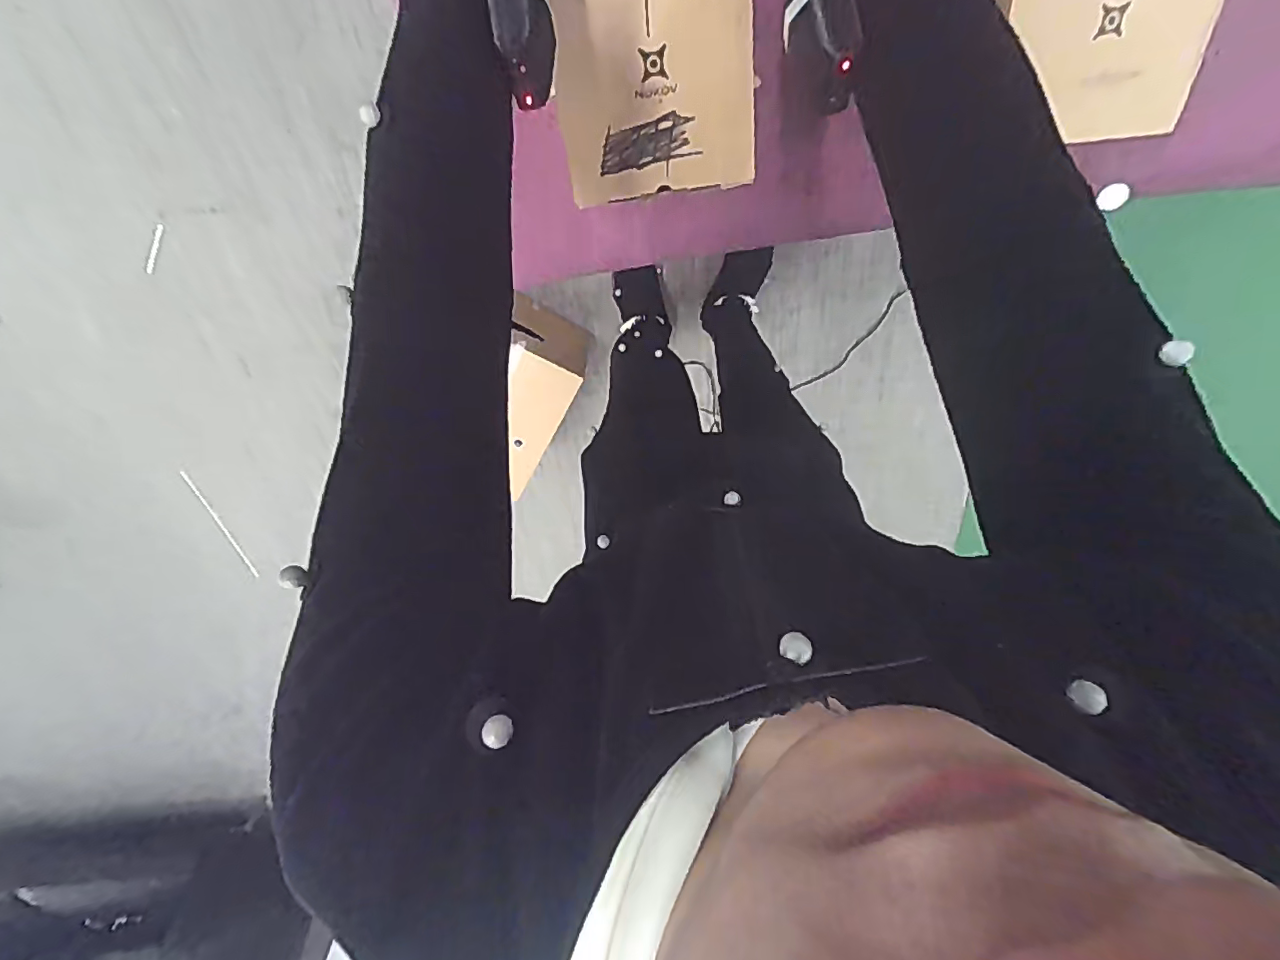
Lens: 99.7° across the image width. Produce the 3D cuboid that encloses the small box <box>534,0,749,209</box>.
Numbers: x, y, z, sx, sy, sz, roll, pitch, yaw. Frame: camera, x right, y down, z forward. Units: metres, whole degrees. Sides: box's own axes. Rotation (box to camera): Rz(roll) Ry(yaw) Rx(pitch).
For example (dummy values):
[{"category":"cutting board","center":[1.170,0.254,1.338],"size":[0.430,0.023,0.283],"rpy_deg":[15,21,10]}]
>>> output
[{"category":"small box","center":[0.007,-0.368,0.504],"size":[0.168,0.176,0.179],"rpy_deg":[-6,122,3]}]

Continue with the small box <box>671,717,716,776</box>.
[{"category":"small box","center":[0.232,1.162,2.364],"size":[0.179,0.176,0.168],"rpy_deg":[-9,123,5]}]
